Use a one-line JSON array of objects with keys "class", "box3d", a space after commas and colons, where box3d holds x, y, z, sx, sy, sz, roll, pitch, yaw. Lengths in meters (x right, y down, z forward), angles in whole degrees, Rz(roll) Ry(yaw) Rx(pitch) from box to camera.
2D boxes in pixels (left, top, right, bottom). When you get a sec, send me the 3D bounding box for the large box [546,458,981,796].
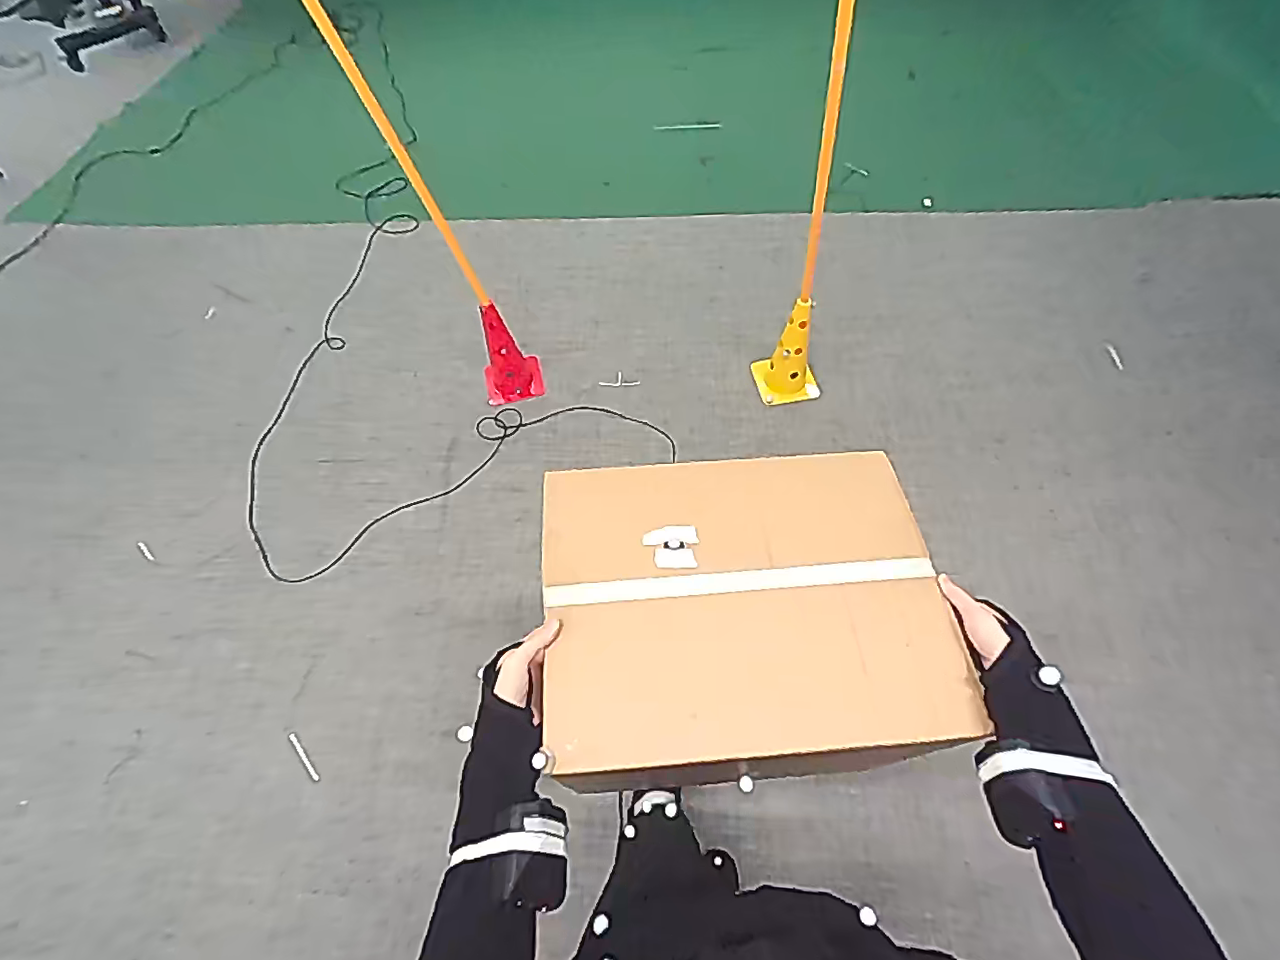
[{"class": "large box", "box3d": [0.106, 0.199, 0.689, 0.408, 0.320, 0.320, -5, 56, -2]}]
